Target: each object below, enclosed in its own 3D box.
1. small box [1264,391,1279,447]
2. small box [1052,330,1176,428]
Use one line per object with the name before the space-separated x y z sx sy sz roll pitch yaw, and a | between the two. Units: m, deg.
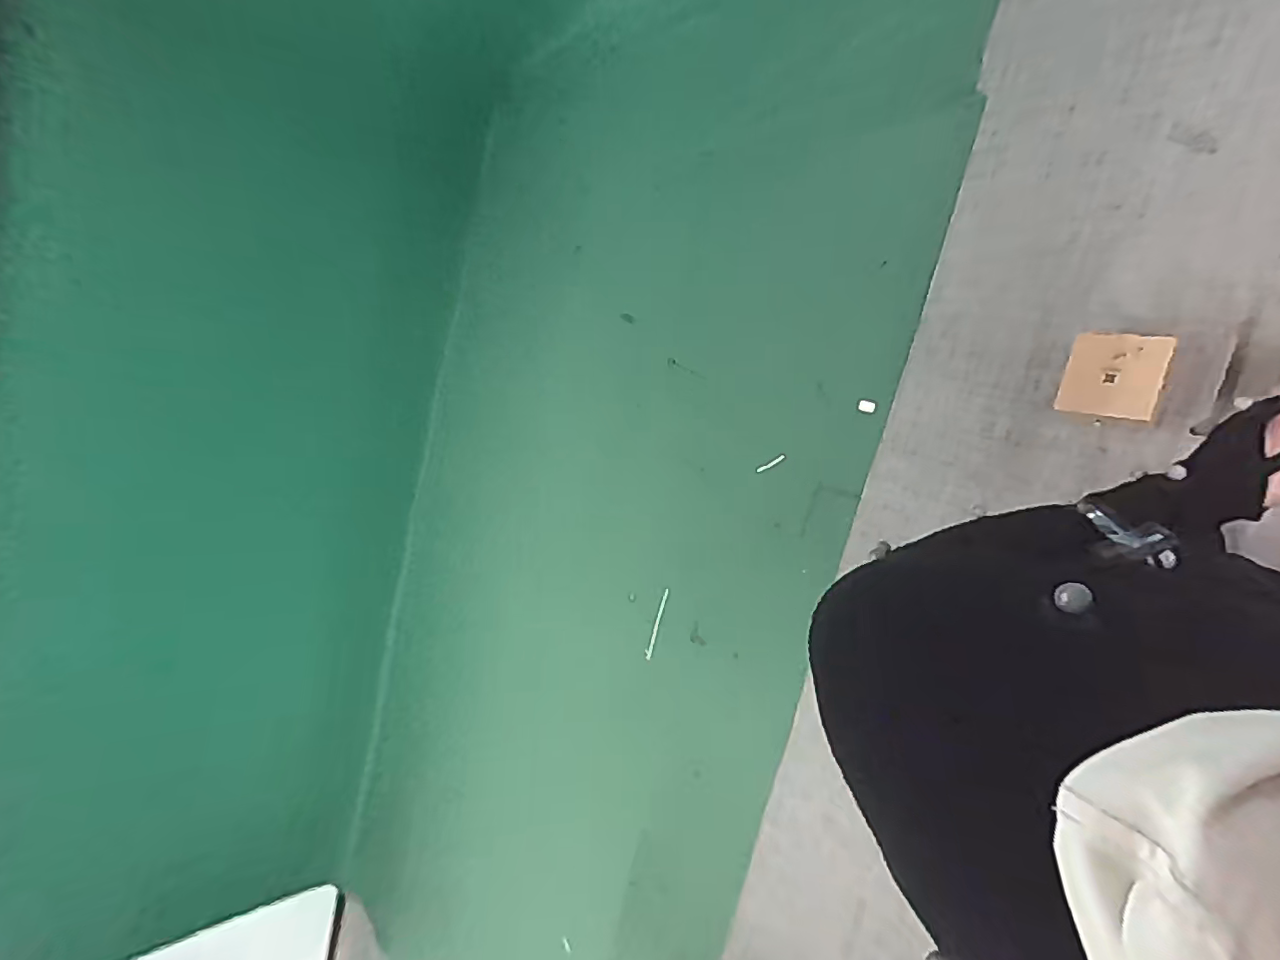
small box | 1.277 -0.141 0.974 0.168 0.176 0.179 21 101 45
small box | 1.056 -0.221 1.203 0.168 0.176 0.179 20 100 44
